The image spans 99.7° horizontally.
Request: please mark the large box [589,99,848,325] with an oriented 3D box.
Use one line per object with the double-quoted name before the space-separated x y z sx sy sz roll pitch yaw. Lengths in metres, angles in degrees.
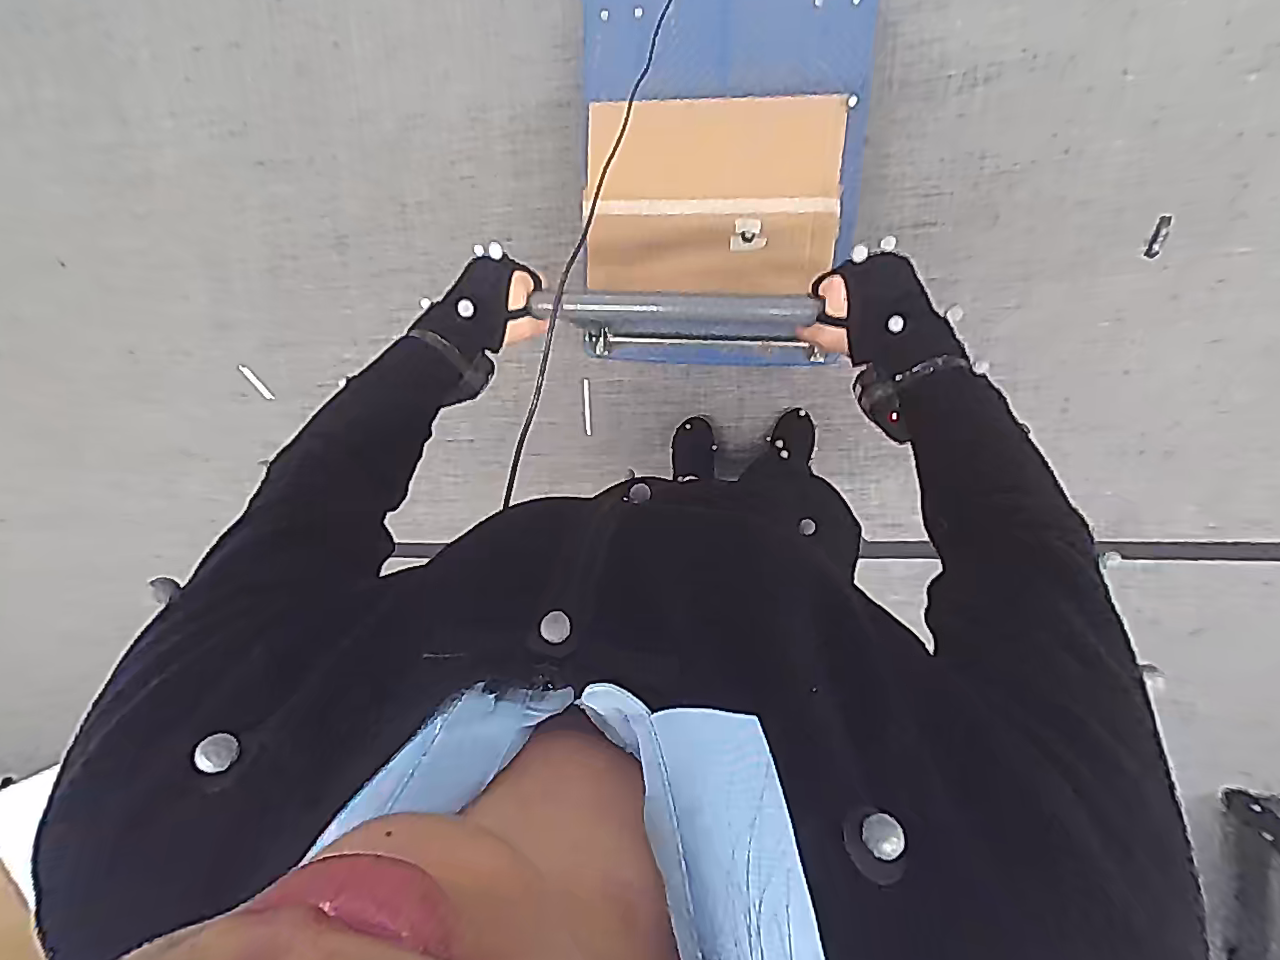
"large box" 0.132 -0.460 1.009 0.408 0.320 0.320 4 103 7
